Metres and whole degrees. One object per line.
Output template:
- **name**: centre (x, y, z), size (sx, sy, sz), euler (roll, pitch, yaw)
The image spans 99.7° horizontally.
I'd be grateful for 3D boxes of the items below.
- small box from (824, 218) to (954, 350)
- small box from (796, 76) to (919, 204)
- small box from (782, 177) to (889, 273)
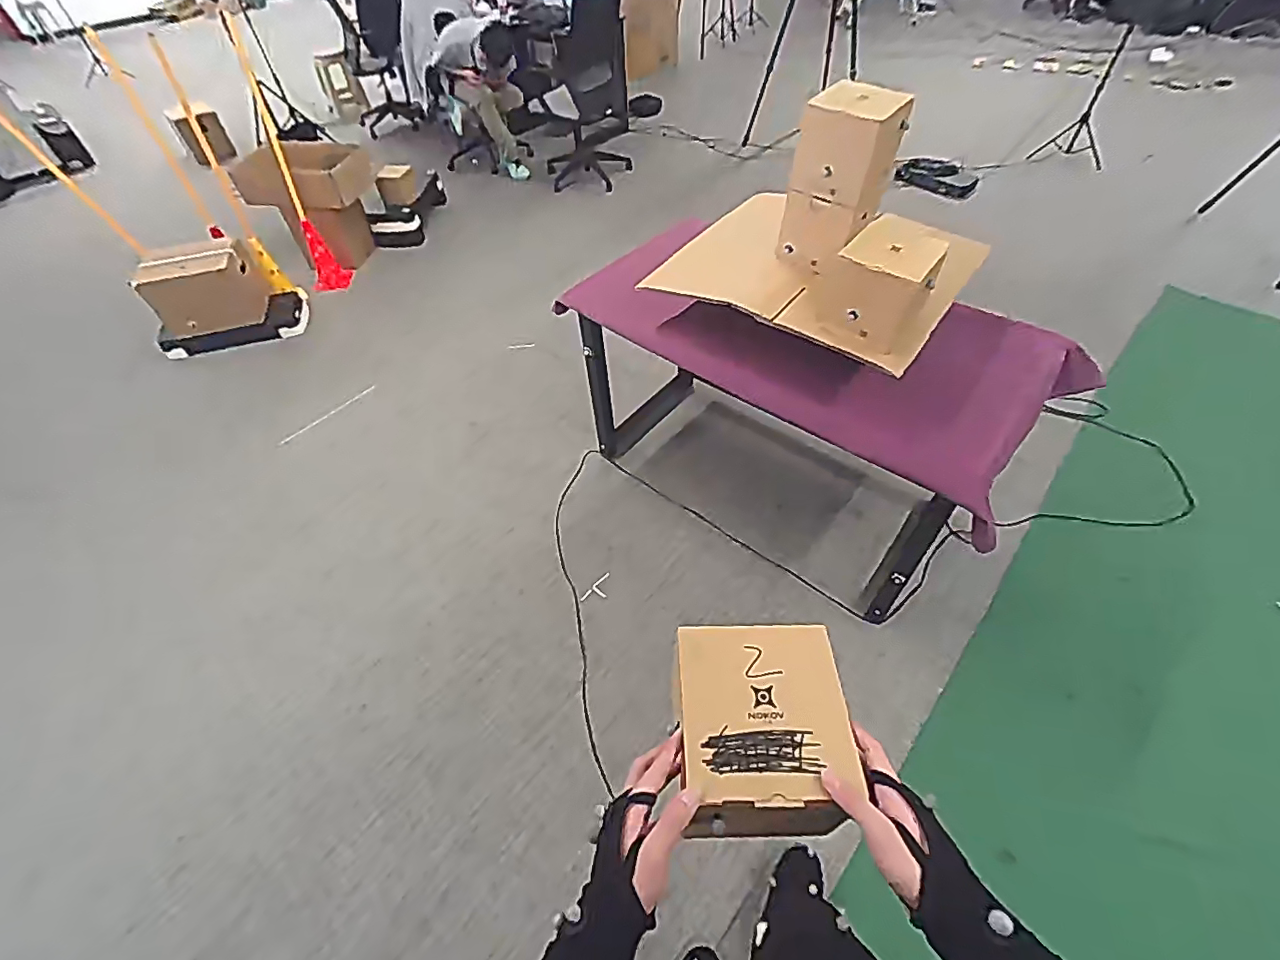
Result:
- **small box**: centre (0.506, -0.405, 1.122), size (0.168, 0.176, 0.179), euler (32, 60, 23)
- **small box**: centre (0.456, -0.726, 1.158), size (0.168, 0.176, 0.179), euler (32, 60, 23)
- **small box**: centre (0.457, -0.624, 1.288), size (0.168, 0.176, 0.179), euler (32, 59, 22)
